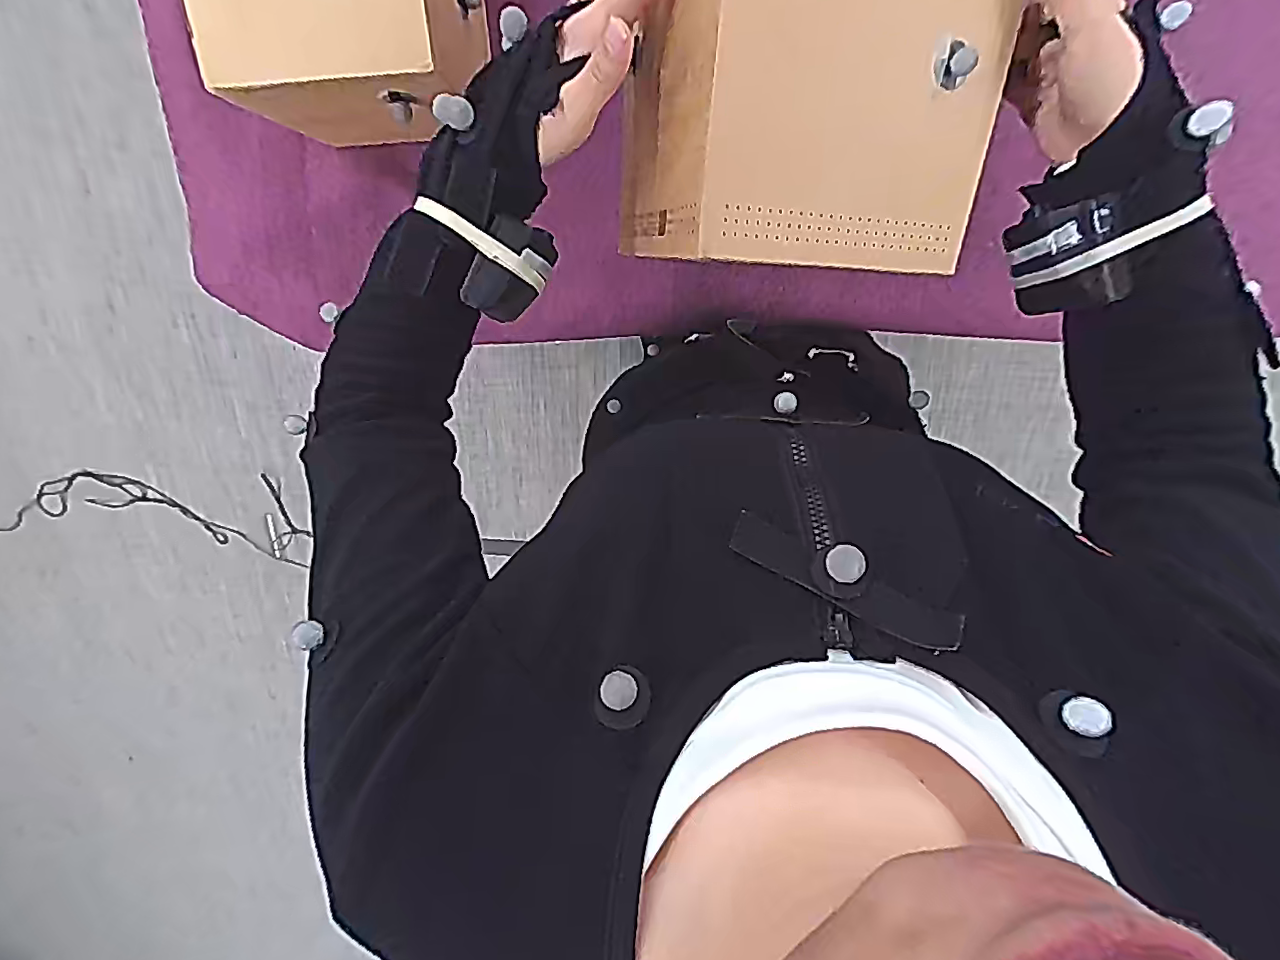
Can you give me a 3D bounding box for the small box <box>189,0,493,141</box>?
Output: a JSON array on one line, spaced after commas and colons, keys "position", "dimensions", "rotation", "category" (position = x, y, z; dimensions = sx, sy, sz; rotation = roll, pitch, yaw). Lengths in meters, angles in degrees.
[{"position": [-0.230, -0.395, 0.442], "dimensions": [0.179, 0.176, 0.168], "rotation": [-2, 109, 3], "category": "small box"}]
